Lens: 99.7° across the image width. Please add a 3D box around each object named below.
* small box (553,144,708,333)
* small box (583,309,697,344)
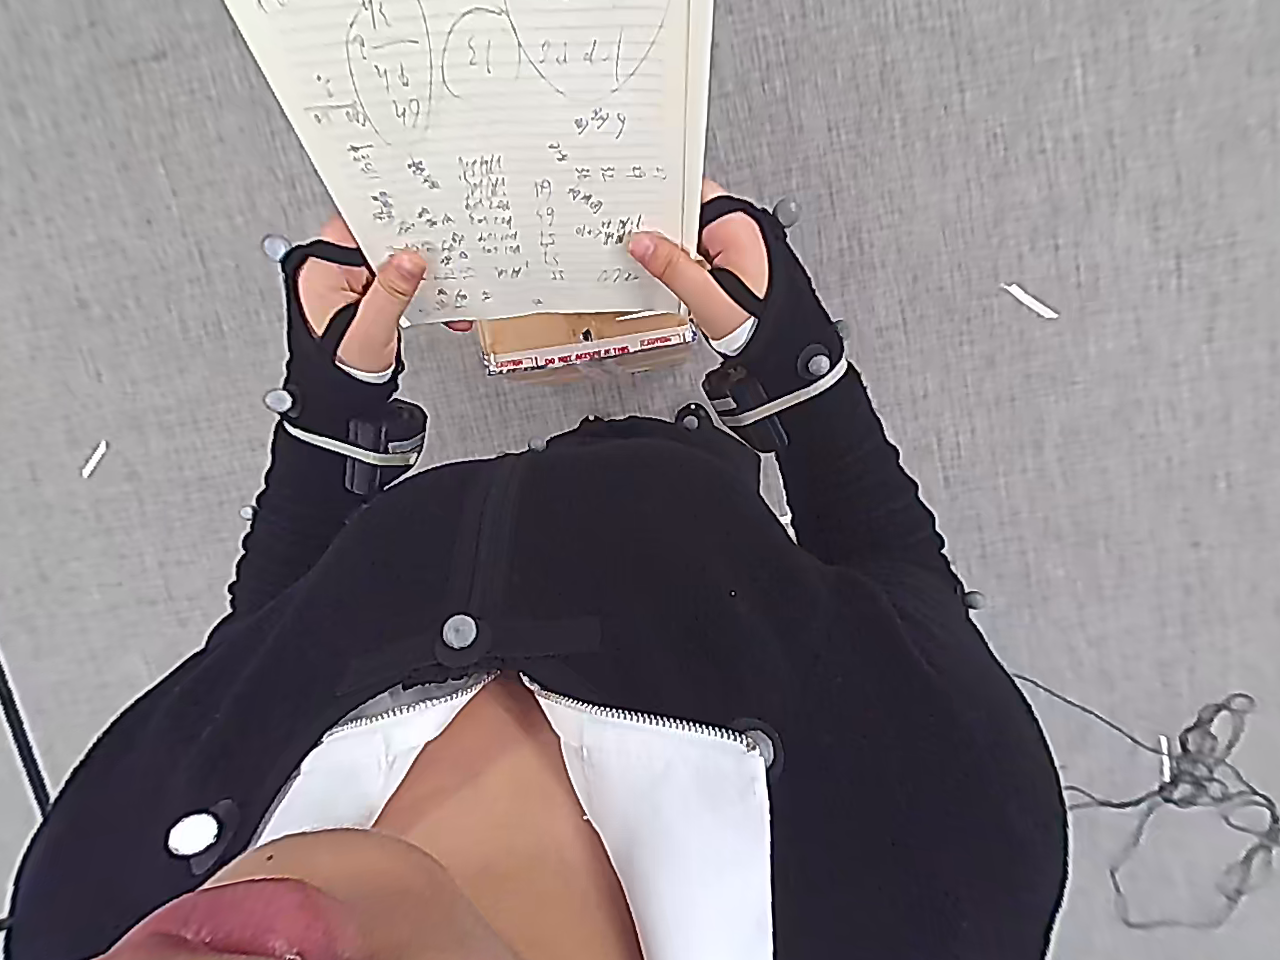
[{"bbox_3d":[-0.012,-0.307,0.724,0.168,0.176,0.179,-10,98,1],"label":"small box"},{"bbox_3d":[-0.014,-0.329,0.887,0.179,0.176,0.168,-13,97,3],"label":"small box"}]
